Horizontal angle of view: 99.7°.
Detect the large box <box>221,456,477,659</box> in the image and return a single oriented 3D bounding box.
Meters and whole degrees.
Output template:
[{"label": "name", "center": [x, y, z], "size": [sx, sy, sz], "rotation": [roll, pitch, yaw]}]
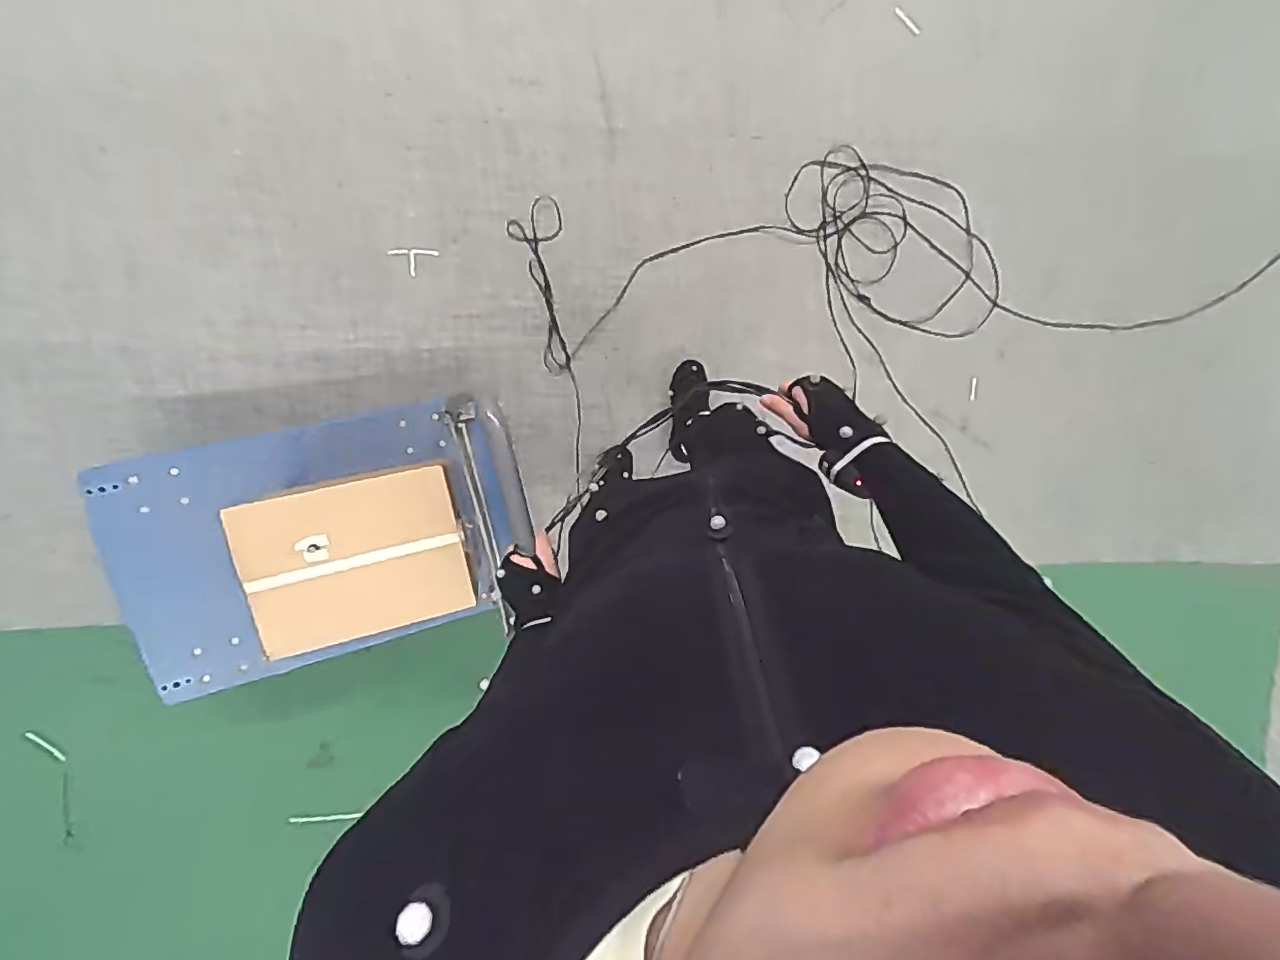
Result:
[{"label": "large box", "center": [-0.606, 0.142, 1.218], "size": [0.408, 0.320, 0.320], "rotation": [-13, 98, -14]}]
